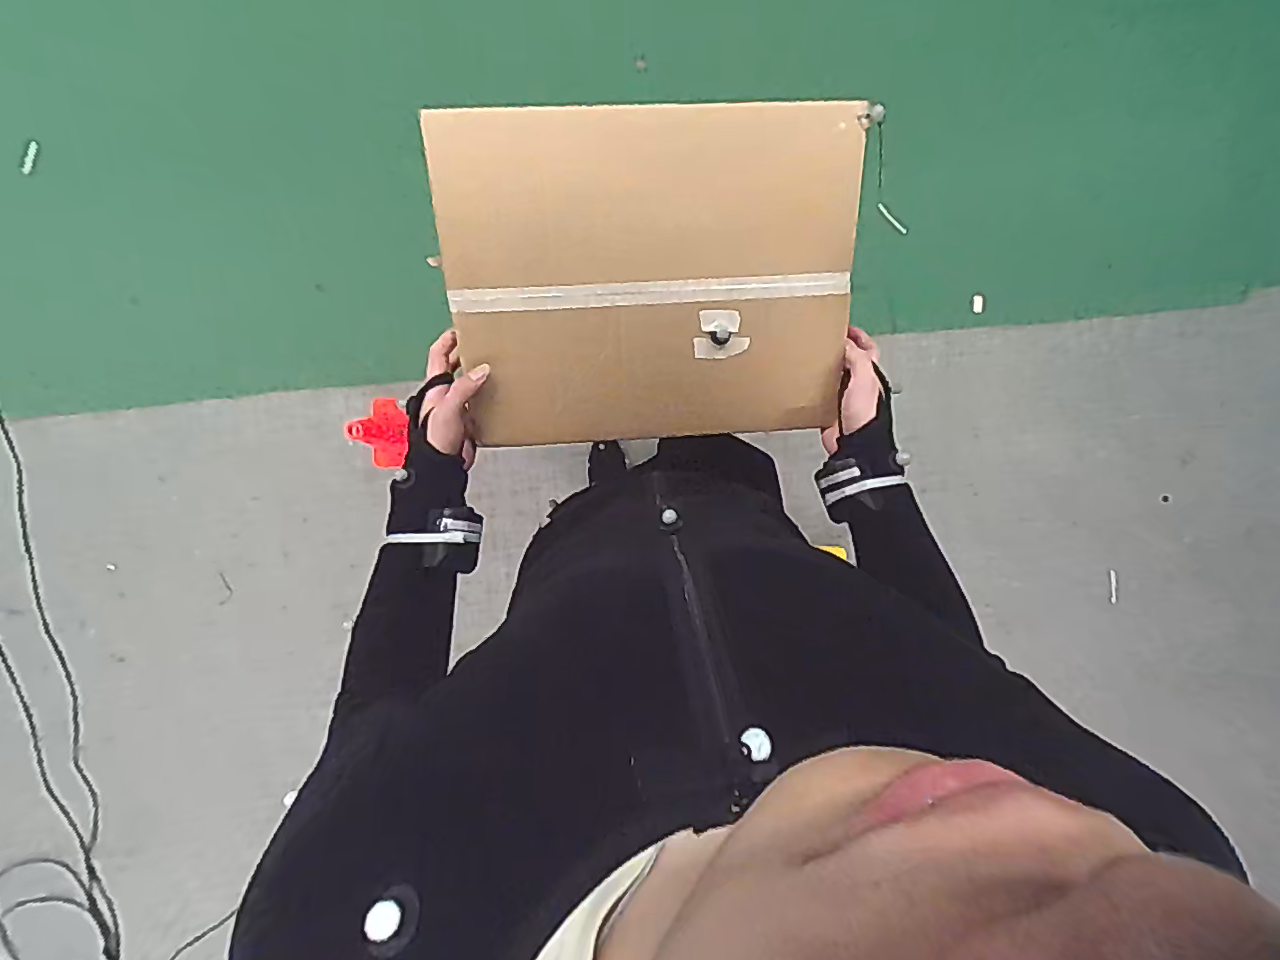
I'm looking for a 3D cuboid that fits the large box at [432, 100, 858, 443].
[{"bbox_3d":[0.002,-0.254,0.688,0.408,0.320,0.320,-5,114,-4],"label":"large box"}]

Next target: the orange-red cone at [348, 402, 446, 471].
[{"bbox_3d":[-0.654,-0.115,1.394,0.199,0.360,0.198,1,93,-3],"label":"orange-red cone"}]
